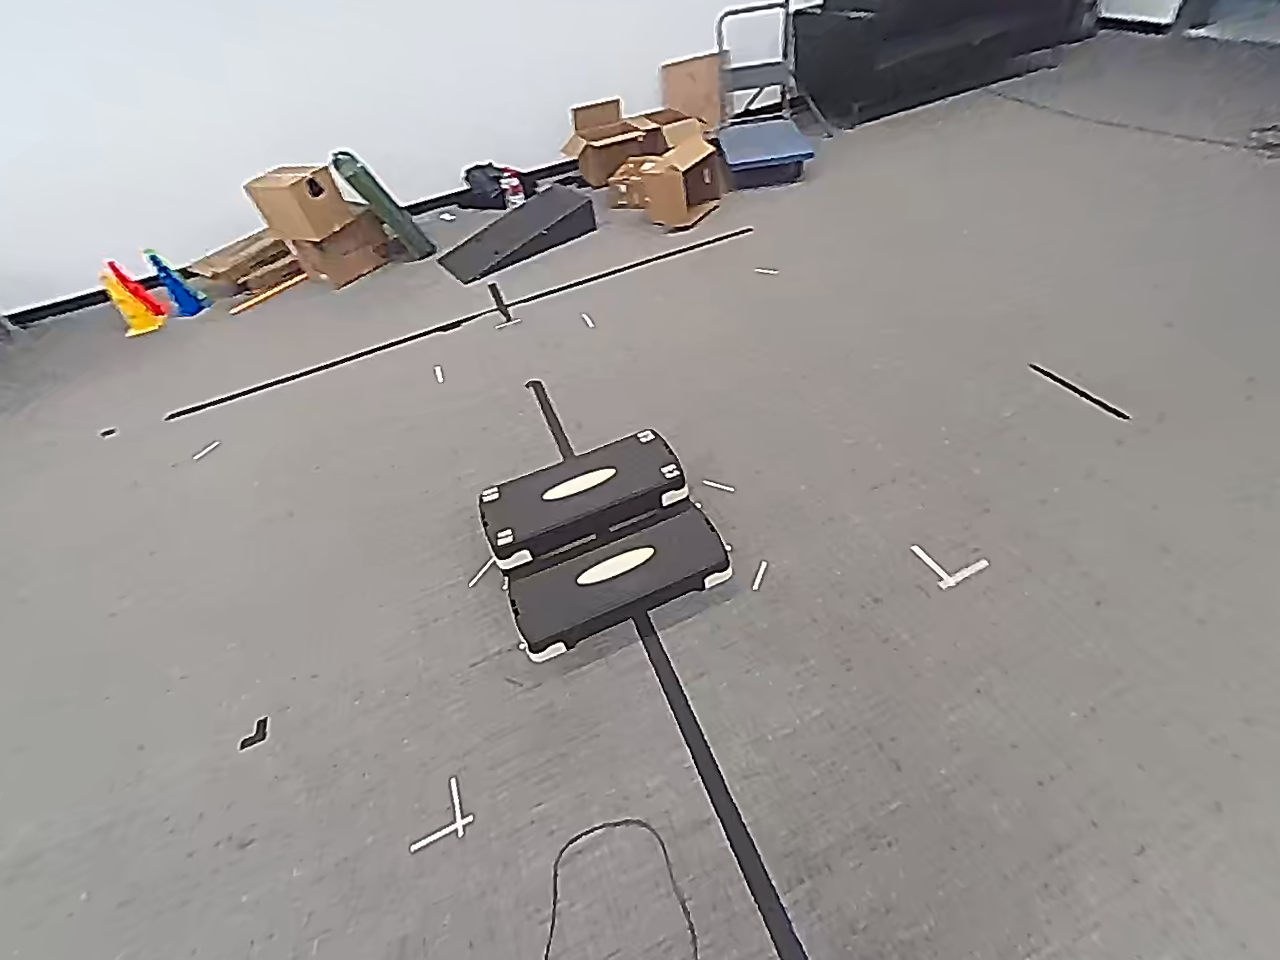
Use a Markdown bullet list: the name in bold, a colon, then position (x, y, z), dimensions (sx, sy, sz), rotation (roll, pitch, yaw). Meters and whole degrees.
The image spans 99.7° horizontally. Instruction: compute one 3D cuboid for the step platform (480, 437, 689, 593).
- **step platform**: position (-0.183, 0.104, 1.813), dimensions (0.684, 0.204, 0.286), rotation (-22, 48, -11)
